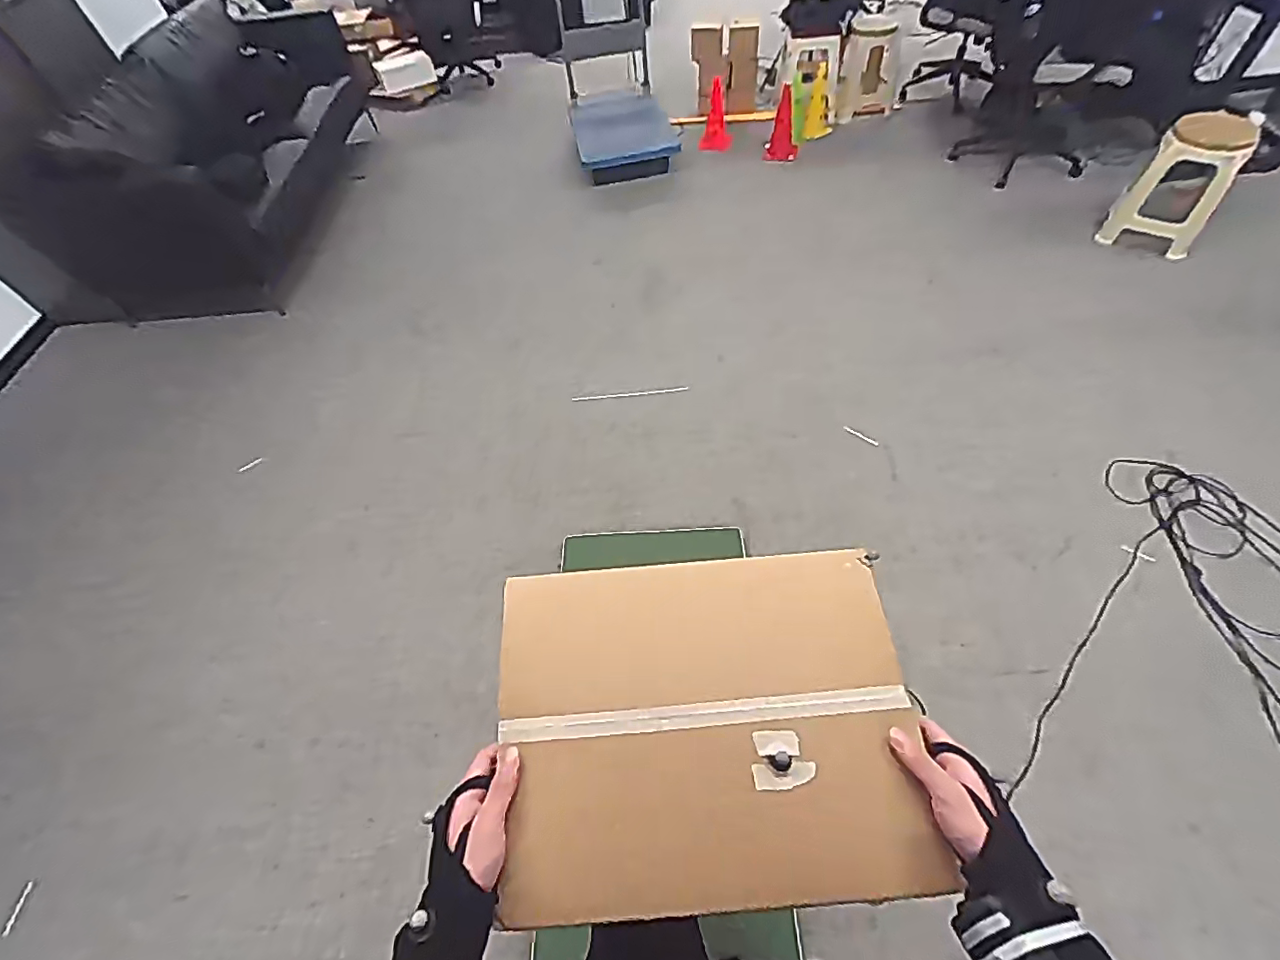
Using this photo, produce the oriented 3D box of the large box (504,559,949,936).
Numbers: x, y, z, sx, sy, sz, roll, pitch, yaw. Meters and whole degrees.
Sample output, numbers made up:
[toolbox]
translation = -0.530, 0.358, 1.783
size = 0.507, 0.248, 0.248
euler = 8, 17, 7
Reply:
[large box]
translation = 0.068, 0.316, 0.674
size = 0.408, 0.320, 0.320
euler = -5, 62, 0
